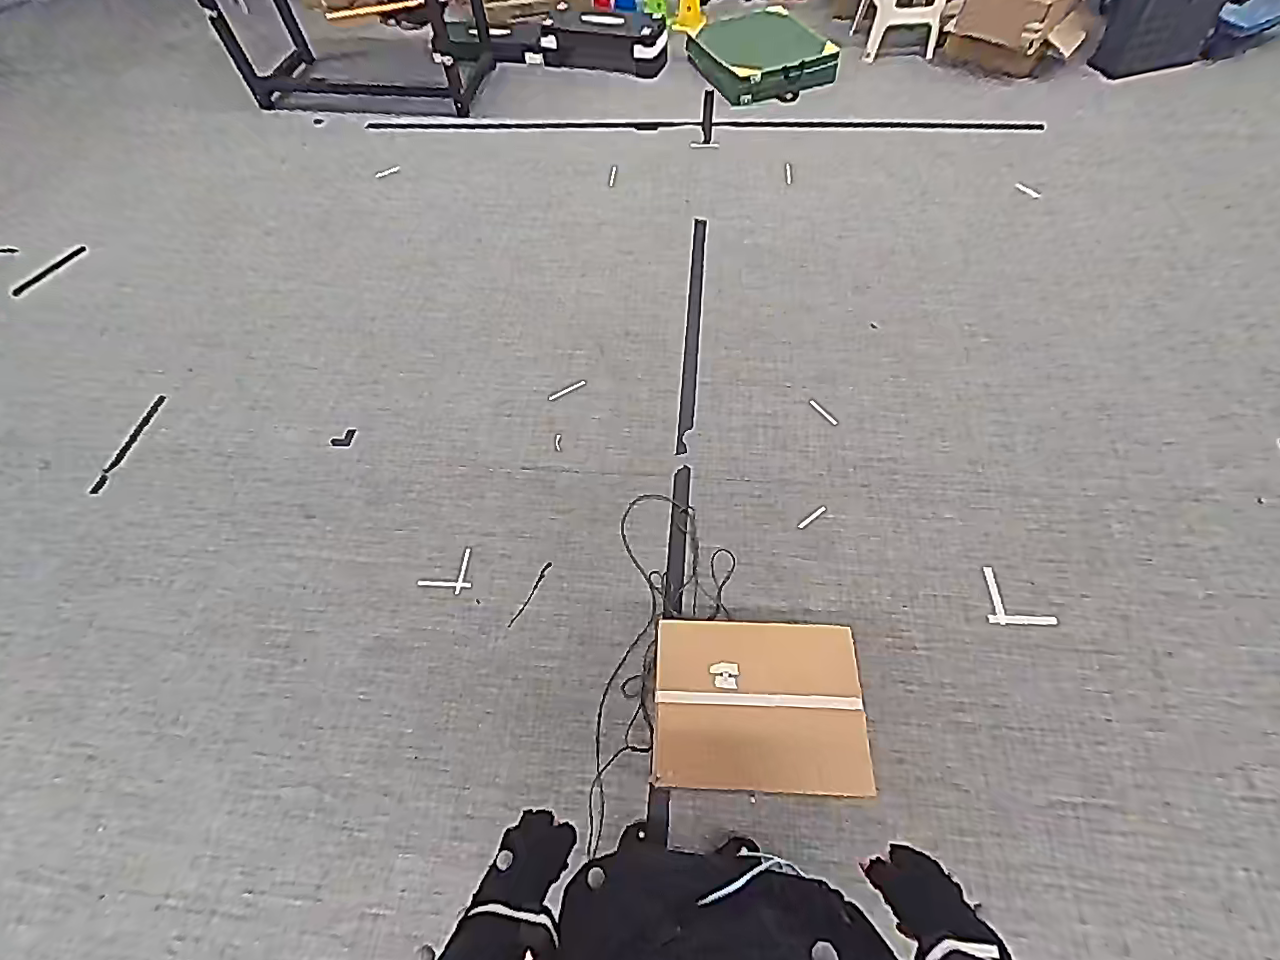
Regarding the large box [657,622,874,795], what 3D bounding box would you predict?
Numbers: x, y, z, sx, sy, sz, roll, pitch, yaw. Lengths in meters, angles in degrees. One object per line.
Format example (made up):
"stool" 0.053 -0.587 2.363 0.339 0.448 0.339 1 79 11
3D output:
"large box" 0.245 0.512 1.197 0.408 0.320 0.320 1 58 4
